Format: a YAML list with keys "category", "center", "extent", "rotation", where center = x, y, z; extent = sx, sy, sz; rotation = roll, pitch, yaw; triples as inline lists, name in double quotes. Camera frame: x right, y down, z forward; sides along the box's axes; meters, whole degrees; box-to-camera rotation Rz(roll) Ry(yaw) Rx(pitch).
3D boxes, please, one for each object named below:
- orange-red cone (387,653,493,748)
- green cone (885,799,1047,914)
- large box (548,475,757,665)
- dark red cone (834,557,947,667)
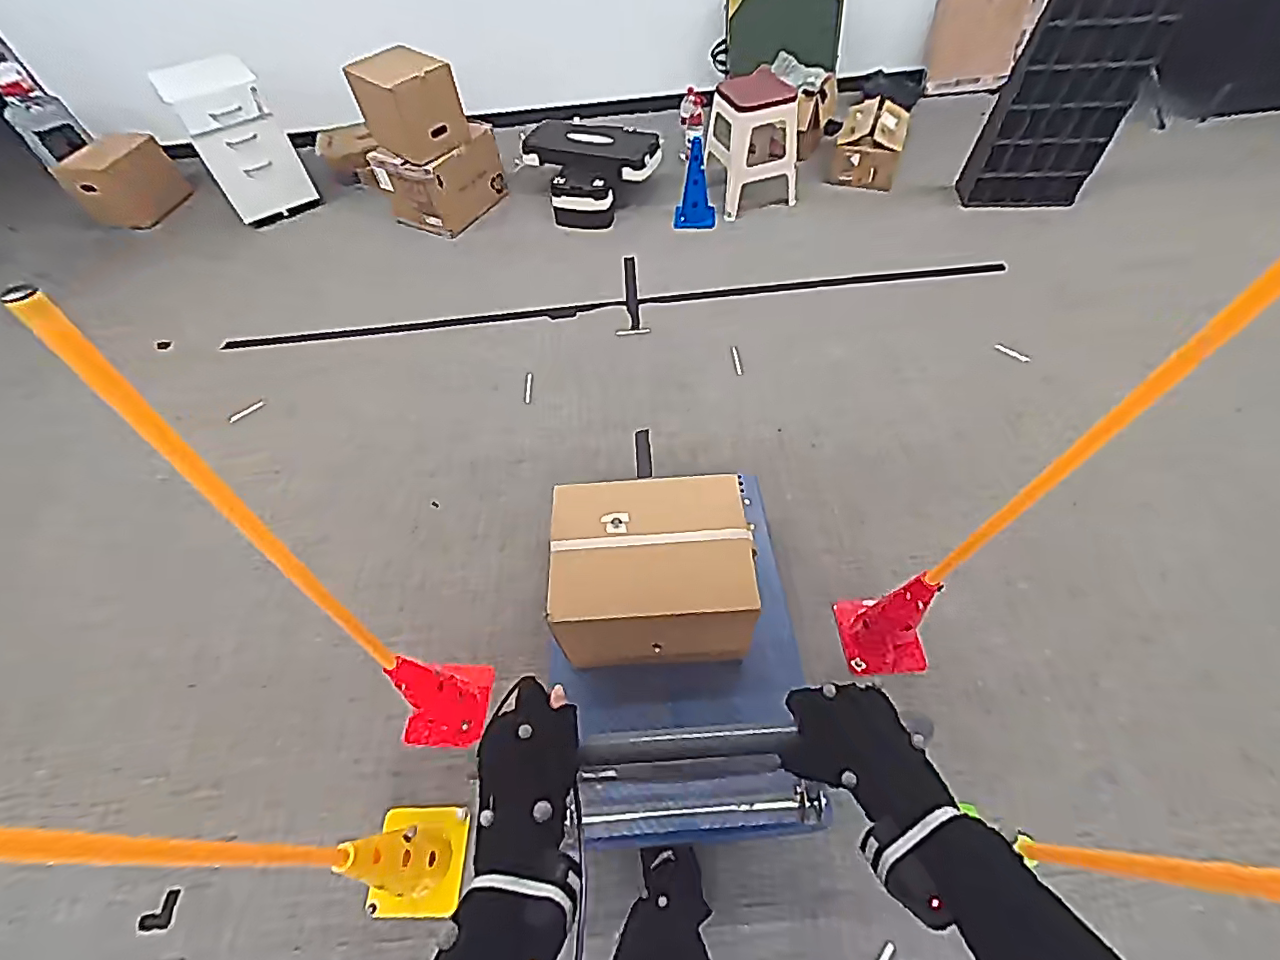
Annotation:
- category: "orange-red cone"
  center: [-0.497, 0.475, 1.255]
  extent: [0.198, 0.360, 0.199]
  rotation: [2, 53, 4]
- category: "green cone"
  center: [0.635, 0.697, 1.012]
  extent: [0.202, 0.368, 0.200]
  rotation: [-1, 54, 2]
- category: "large box"
  center: [0.026, 0.213, 1.223]
  extent: [0.408, 0.320, 0.320]
  rotation: [-4, 55, 2]
- category: "dark red cone"
  center: [0.622, 0.292, 1.279]
  extent: [0.201, 0.394, 0.202]
  rotation: [-4, 55, -1]
